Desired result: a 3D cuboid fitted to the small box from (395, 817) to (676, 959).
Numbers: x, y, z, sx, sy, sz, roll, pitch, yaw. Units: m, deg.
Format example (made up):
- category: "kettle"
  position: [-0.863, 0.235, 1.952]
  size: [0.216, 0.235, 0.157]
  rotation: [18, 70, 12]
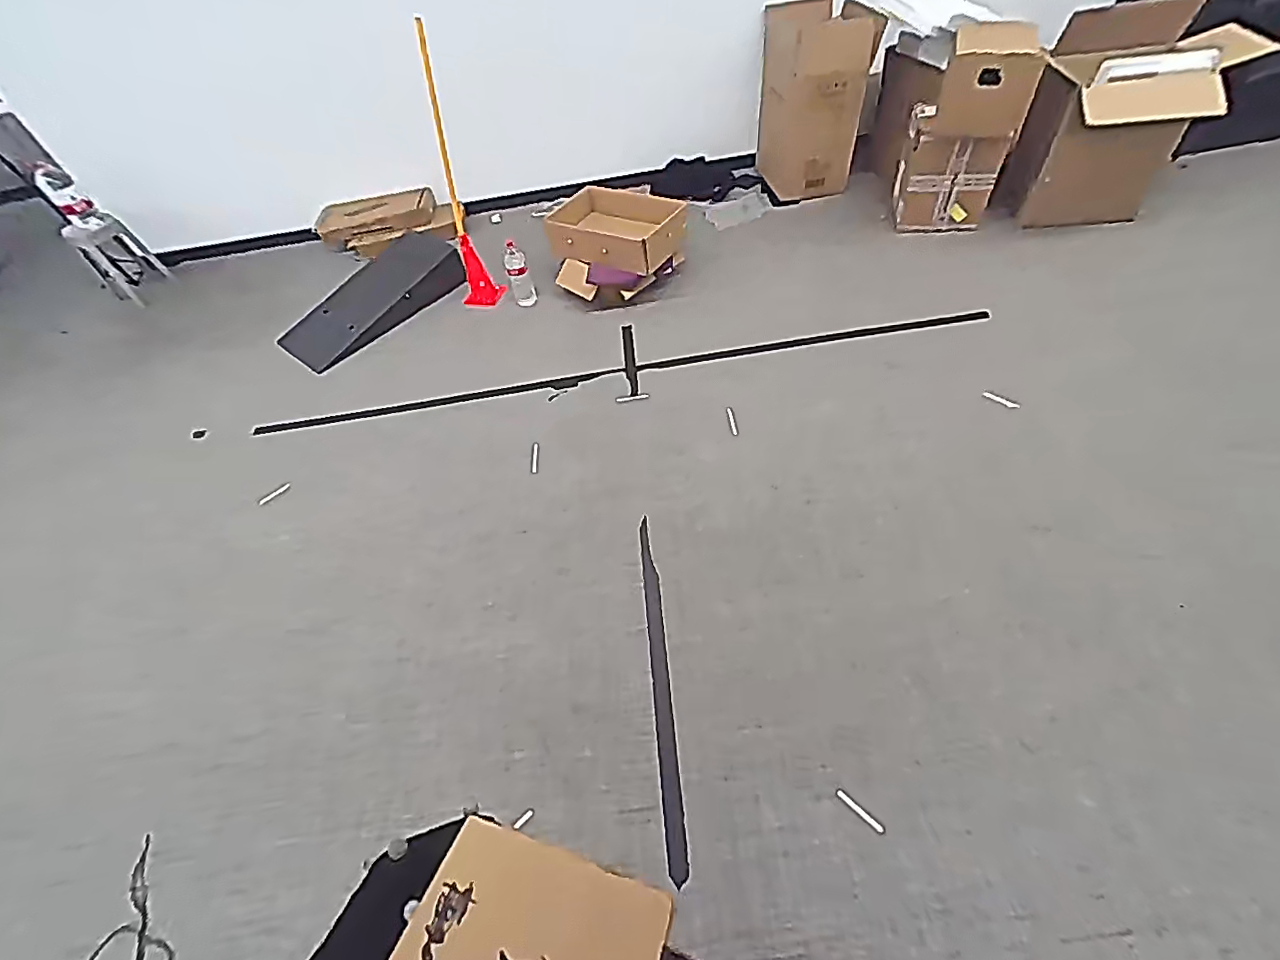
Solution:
- category: "small box"
  position: [-0.088, 0.402, 0.401]
  size: [0.179, 0.176, 0.168]
  rotation: [15, 32, 10]
